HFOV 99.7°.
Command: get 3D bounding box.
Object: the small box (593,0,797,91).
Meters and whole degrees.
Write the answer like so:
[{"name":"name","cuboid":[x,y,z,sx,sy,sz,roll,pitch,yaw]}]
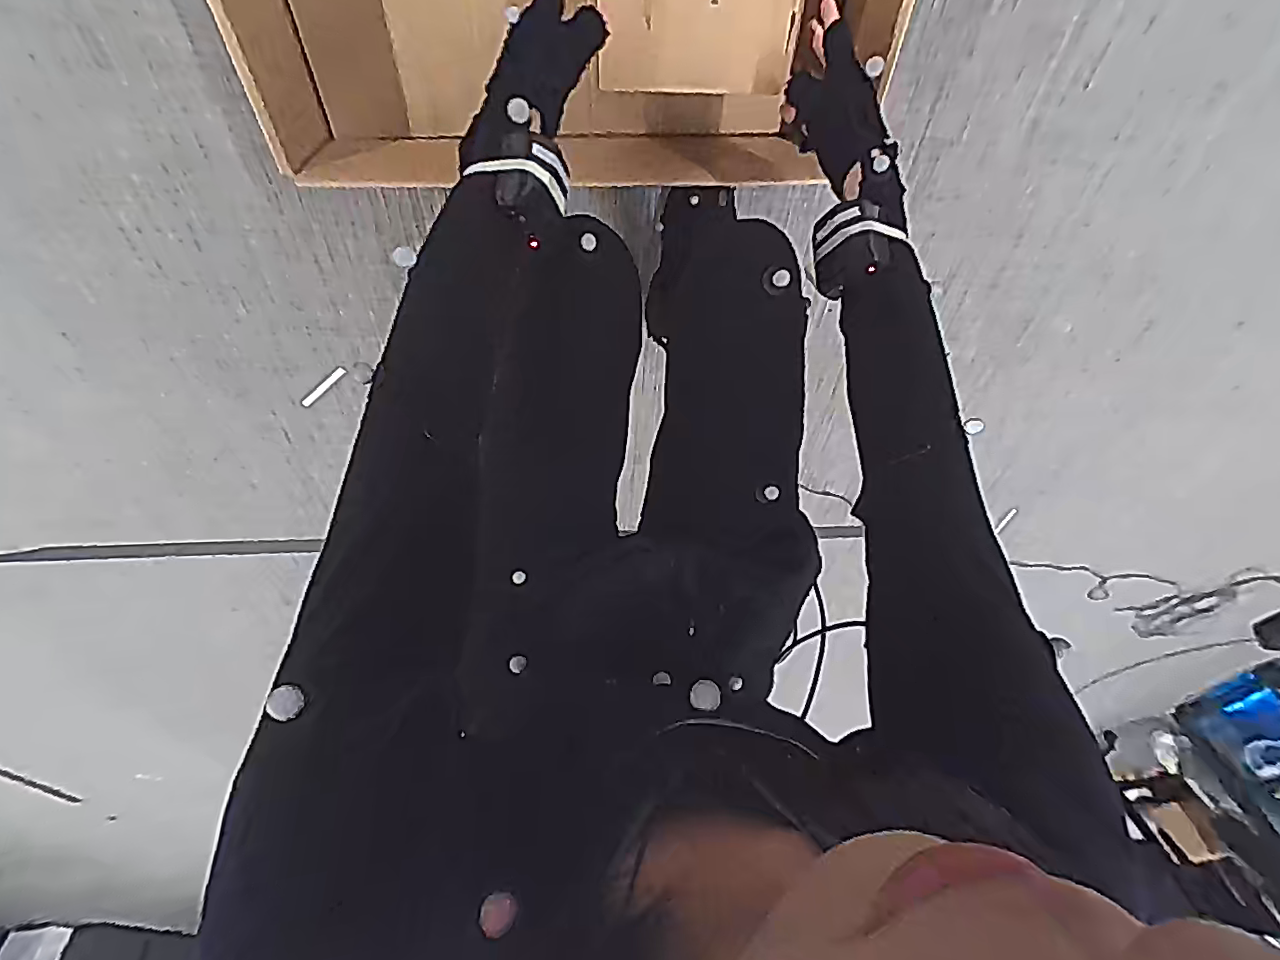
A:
[{"name":"small box","cuboid":[0.044,-0.480,0.503,0.179,0.176,0.168,-2,136,-3]}]
